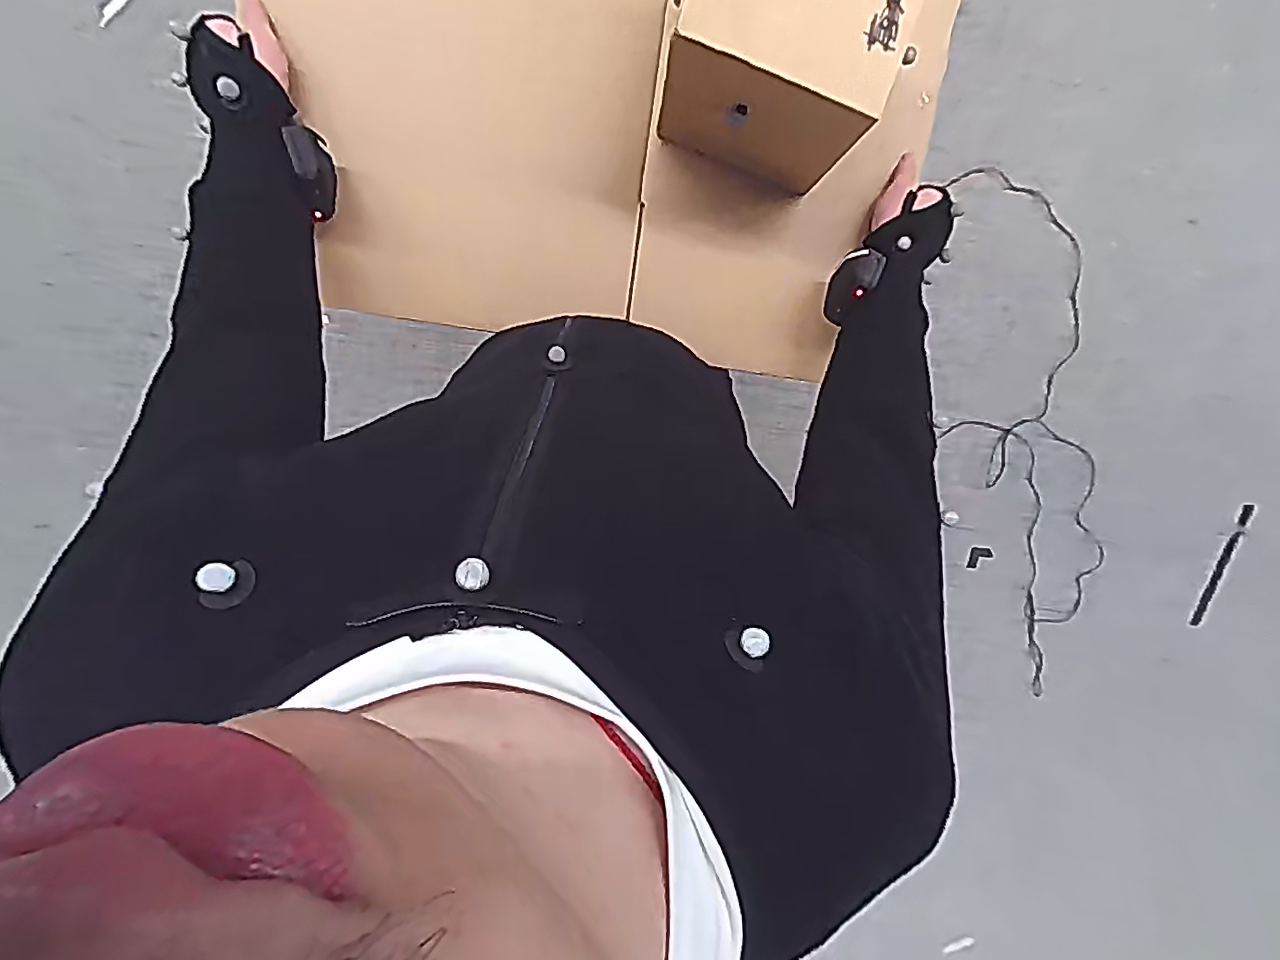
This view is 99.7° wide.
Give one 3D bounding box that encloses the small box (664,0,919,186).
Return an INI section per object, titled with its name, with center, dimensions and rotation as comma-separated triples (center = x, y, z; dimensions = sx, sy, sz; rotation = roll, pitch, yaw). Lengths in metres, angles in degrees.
[small box]
center = 0.130, -0.402, 0.493
dimensions = 0.179, 0.176, 0.168
rotation = 19, 98, -5
